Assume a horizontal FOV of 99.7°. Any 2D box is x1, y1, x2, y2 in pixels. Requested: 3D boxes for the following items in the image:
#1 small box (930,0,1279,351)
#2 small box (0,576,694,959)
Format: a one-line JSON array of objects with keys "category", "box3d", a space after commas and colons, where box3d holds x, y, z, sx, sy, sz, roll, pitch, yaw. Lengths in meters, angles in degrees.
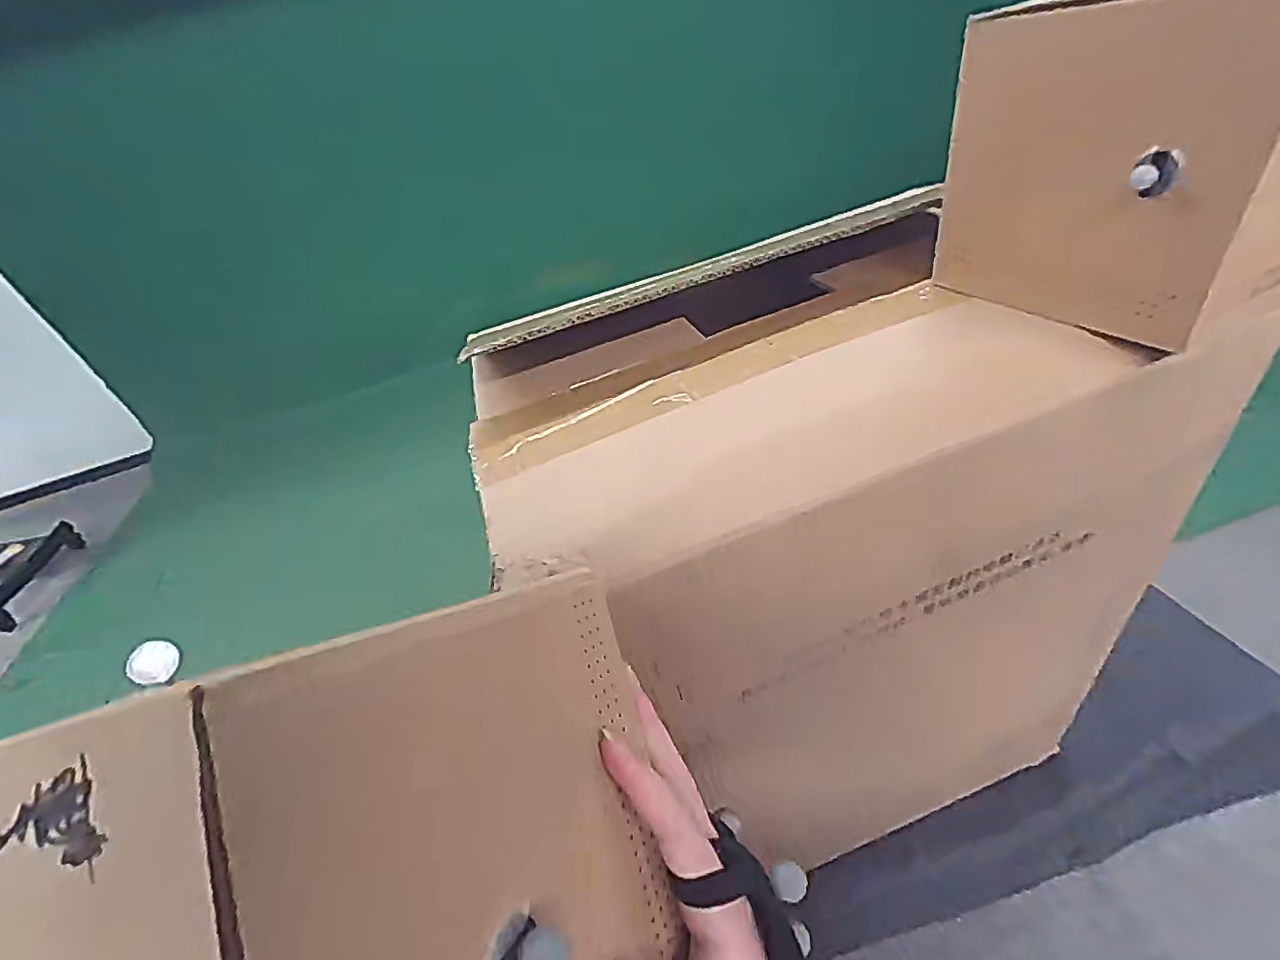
[{"category": "small box", "box3d": [0.322, -0.199, 0.343, 0.168, 0.176, 0.179, -23, 38, -14]}, {"category": "small box", "box3d": [-0.096, 0.151, 0.208, 0.168, 0.179, 0.176, -19, -7, 23]}]
